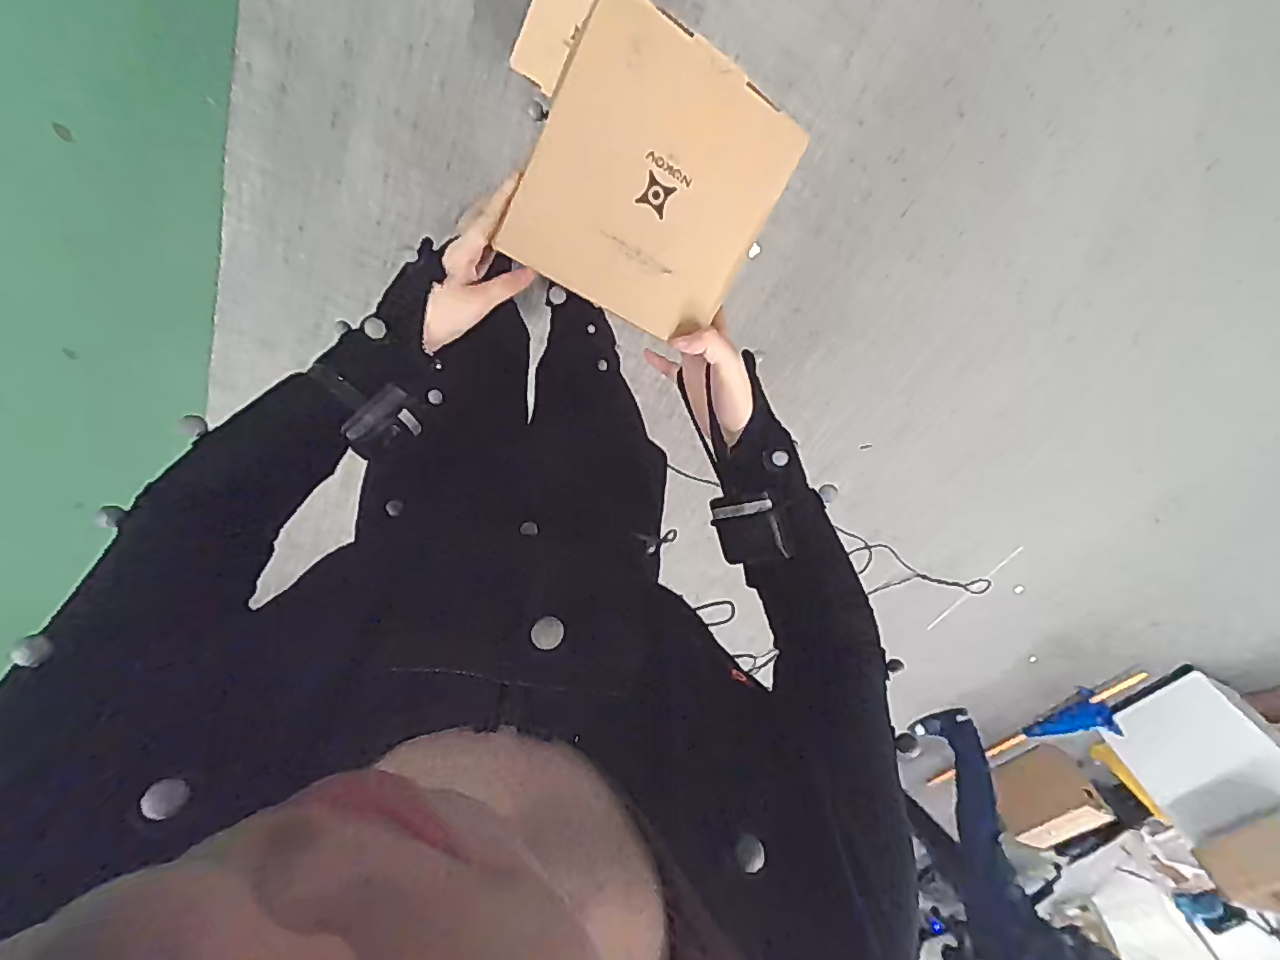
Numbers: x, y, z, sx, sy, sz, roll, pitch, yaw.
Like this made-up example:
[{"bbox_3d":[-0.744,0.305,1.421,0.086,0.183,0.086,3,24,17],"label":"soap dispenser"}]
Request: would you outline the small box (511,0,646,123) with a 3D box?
[{"bbox_3d":[-0.106,-0.767,0.947,0.168,0.176,0.179,25,121,-21],"label":"small box"}]
